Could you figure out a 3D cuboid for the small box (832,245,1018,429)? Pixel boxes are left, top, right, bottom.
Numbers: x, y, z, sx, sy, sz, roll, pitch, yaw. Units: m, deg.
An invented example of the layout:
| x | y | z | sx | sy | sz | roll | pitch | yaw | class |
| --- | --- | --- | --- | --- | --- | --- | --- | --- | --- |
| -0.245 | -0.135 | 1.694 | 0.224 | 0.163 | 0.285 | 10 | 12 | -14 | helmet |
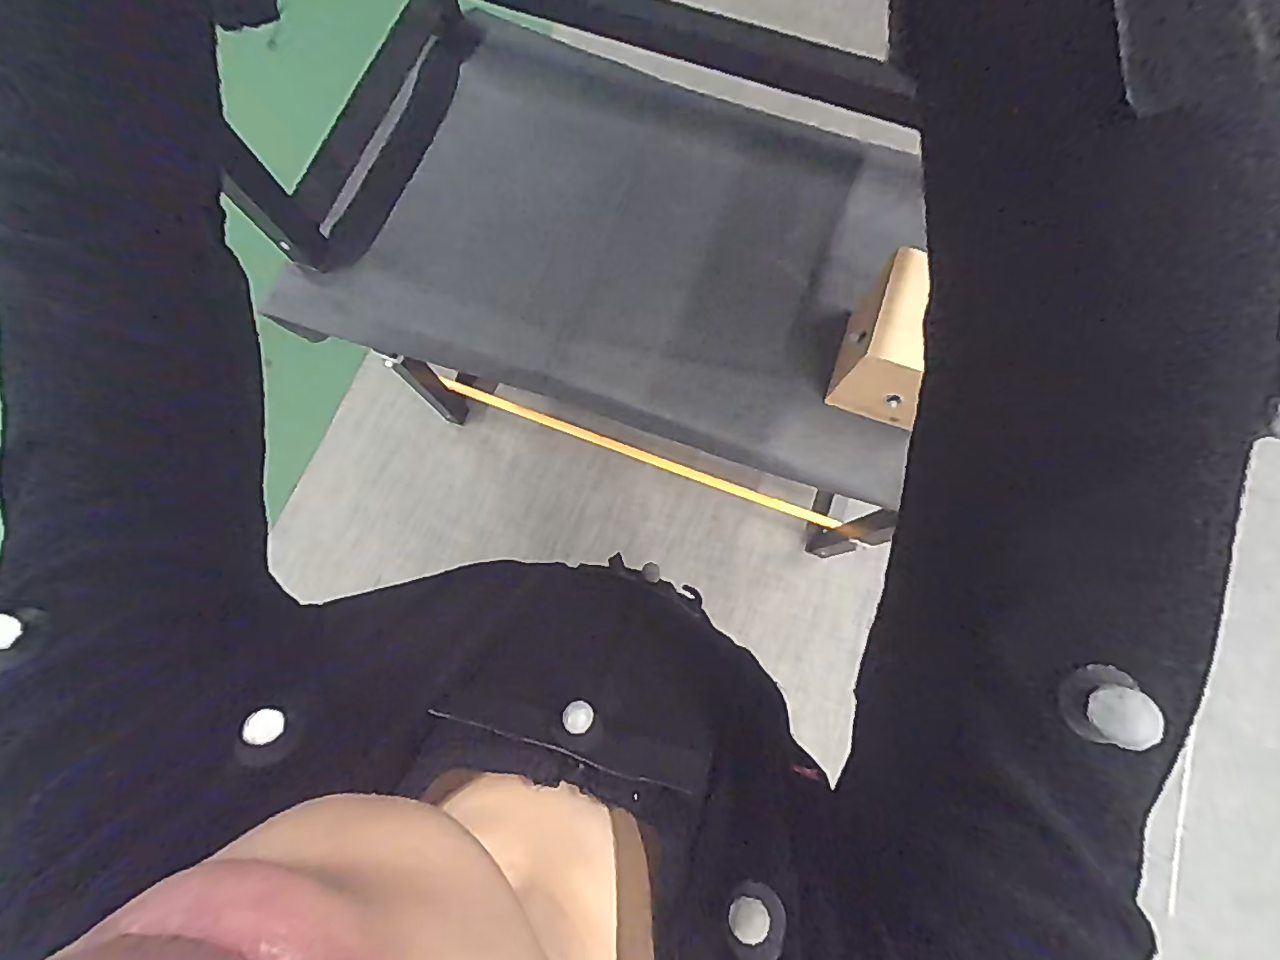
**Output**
| x | y | z | sx | sy | sz | roll | pitch | yaw | class |
| --- | --- | --- | --- | --- | --- | --- | --- | --- | --- |
| 0.398 | -0.195 | 0.784 | 0.168 | 0.176 | 0.179 | 20 | 76 | 4 | small box |
